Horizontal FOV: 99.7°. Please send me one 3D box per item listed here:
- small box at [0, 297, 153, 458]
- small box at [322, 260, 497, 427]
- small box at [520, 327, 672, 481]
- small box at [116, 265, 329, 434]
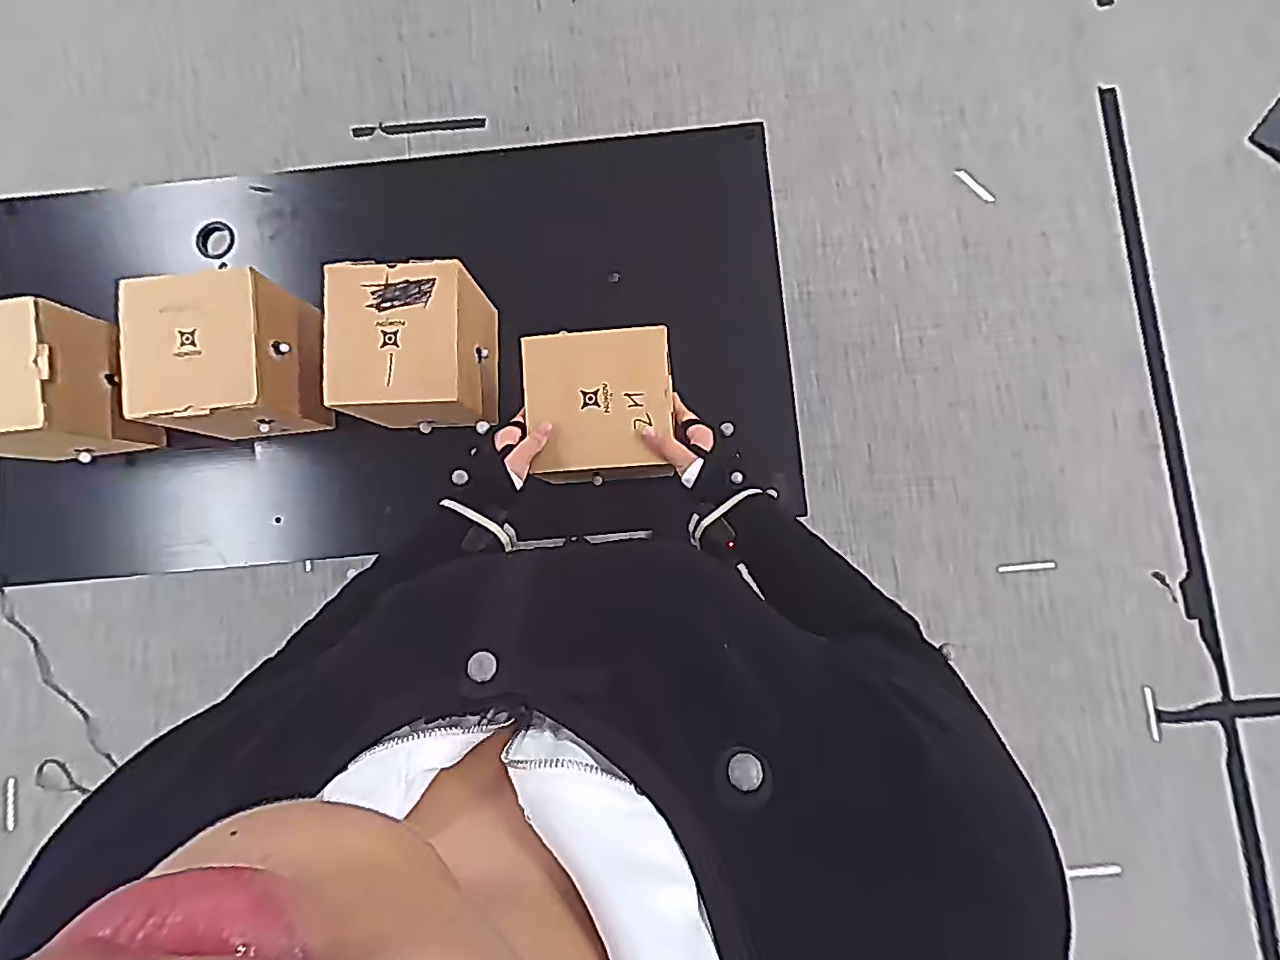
[{"bbox_3d":[-0.805,-0.127,0.728,0.179,0.176,0.168,-8,85,-1],"label":"small box"},{"bbox_3d":[-0.296,-0.172,0.725,0.168,0.176,0.179,-1,86,1],"label":"small box"},{"bbox_3d":[-0.050,-0.089,0.714,0.179,0.176,0.168,-4,86,1],"label":"small box"},{"bbox_3d":[-0.545,-0.161,0.729,0.168,0.176,0.179,-6,85,-1],"label":"small box"}]
